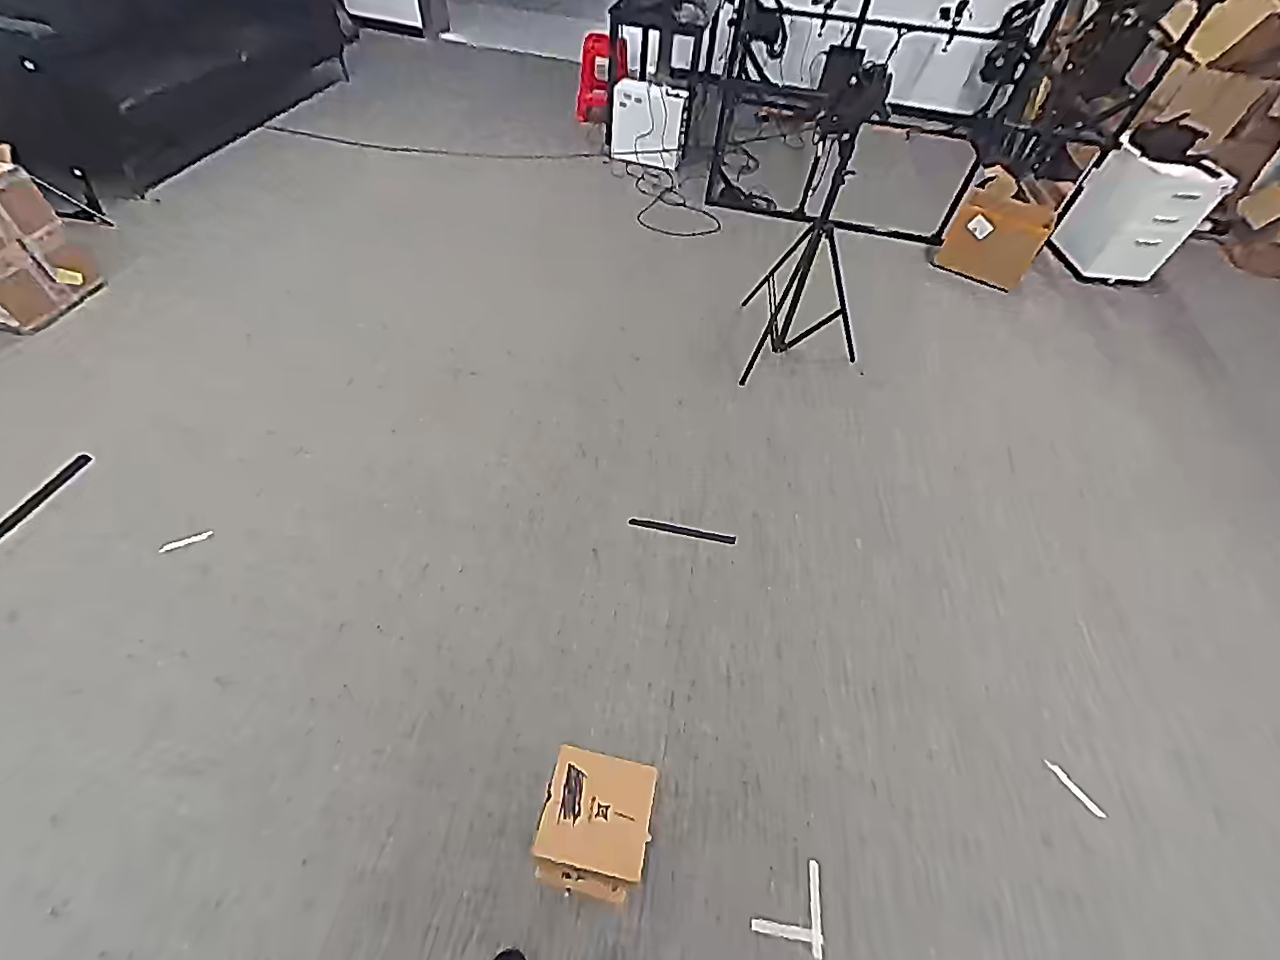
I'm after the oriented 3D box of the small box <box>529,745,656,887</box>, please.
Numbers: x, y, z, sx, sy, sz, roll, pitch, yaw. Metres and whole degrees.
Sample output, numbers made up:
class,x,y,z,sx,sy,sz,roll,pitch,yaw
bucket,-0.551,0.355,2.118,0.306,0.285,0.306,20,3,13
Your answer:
class,x,y,z,sx,sy,sz,roll,pitch,yaw
small box,-0.081,0.590,0.942,0.179,0.176,0.168,13,50,3

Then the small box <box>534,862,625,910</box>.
class,x,y,z,sx,sy,sz,roll,pitch,yaw
small box,-0.099,0.708,1.058,0.168,0.176,0.179,14,49,5
